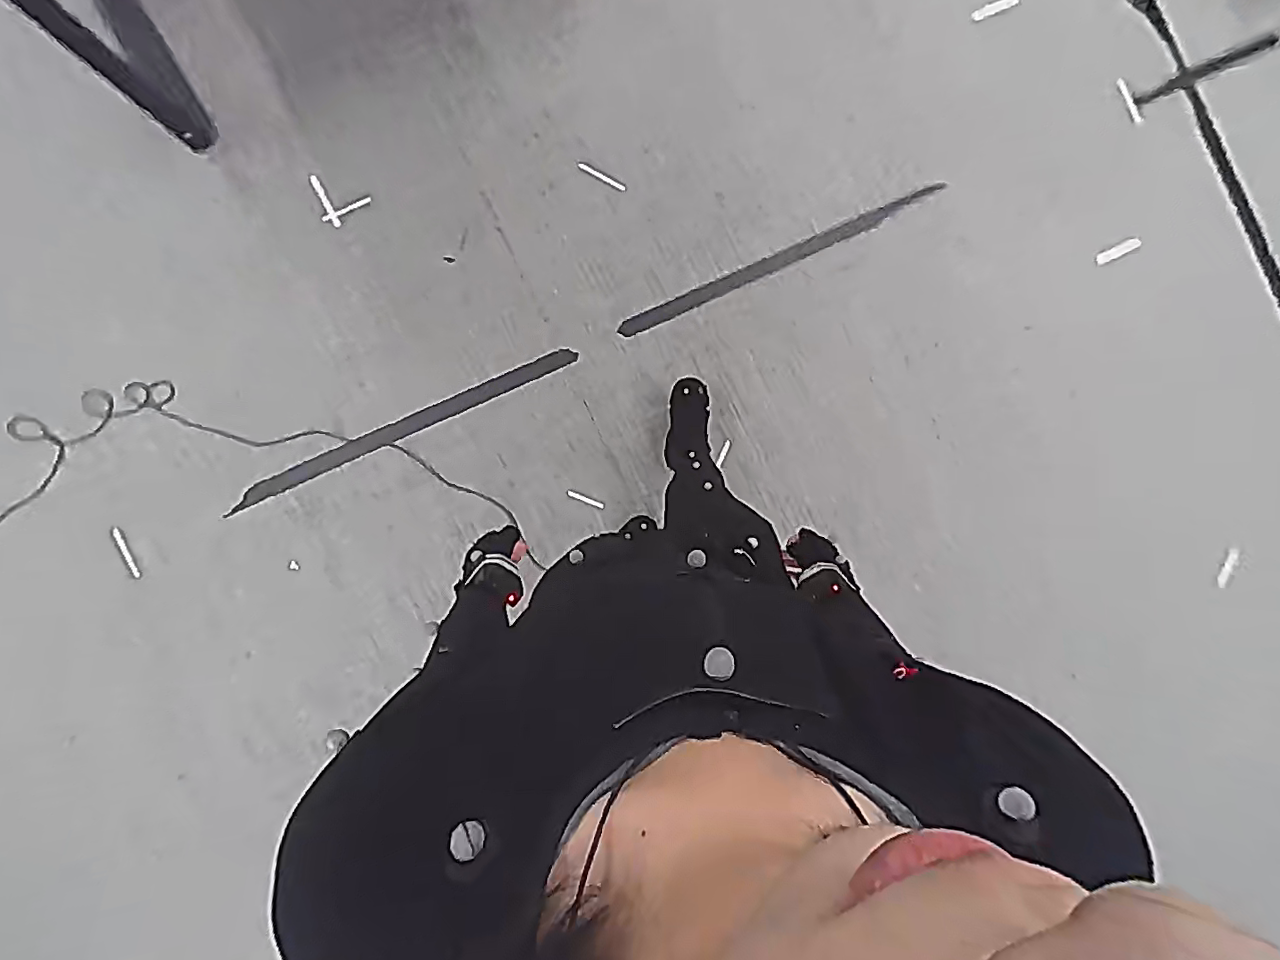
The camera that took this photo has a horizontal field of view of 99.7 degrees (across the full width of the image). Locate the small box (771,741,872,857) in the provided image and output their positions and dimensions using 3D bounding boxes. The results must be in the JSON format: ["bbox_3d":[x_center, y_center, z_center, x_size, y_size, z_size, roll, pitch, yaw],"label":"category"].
[{"bbox_3d":[0.481,0.850,1.457,0.168,0.176,0.179,-27,90,-4],"label":"small box"}]
